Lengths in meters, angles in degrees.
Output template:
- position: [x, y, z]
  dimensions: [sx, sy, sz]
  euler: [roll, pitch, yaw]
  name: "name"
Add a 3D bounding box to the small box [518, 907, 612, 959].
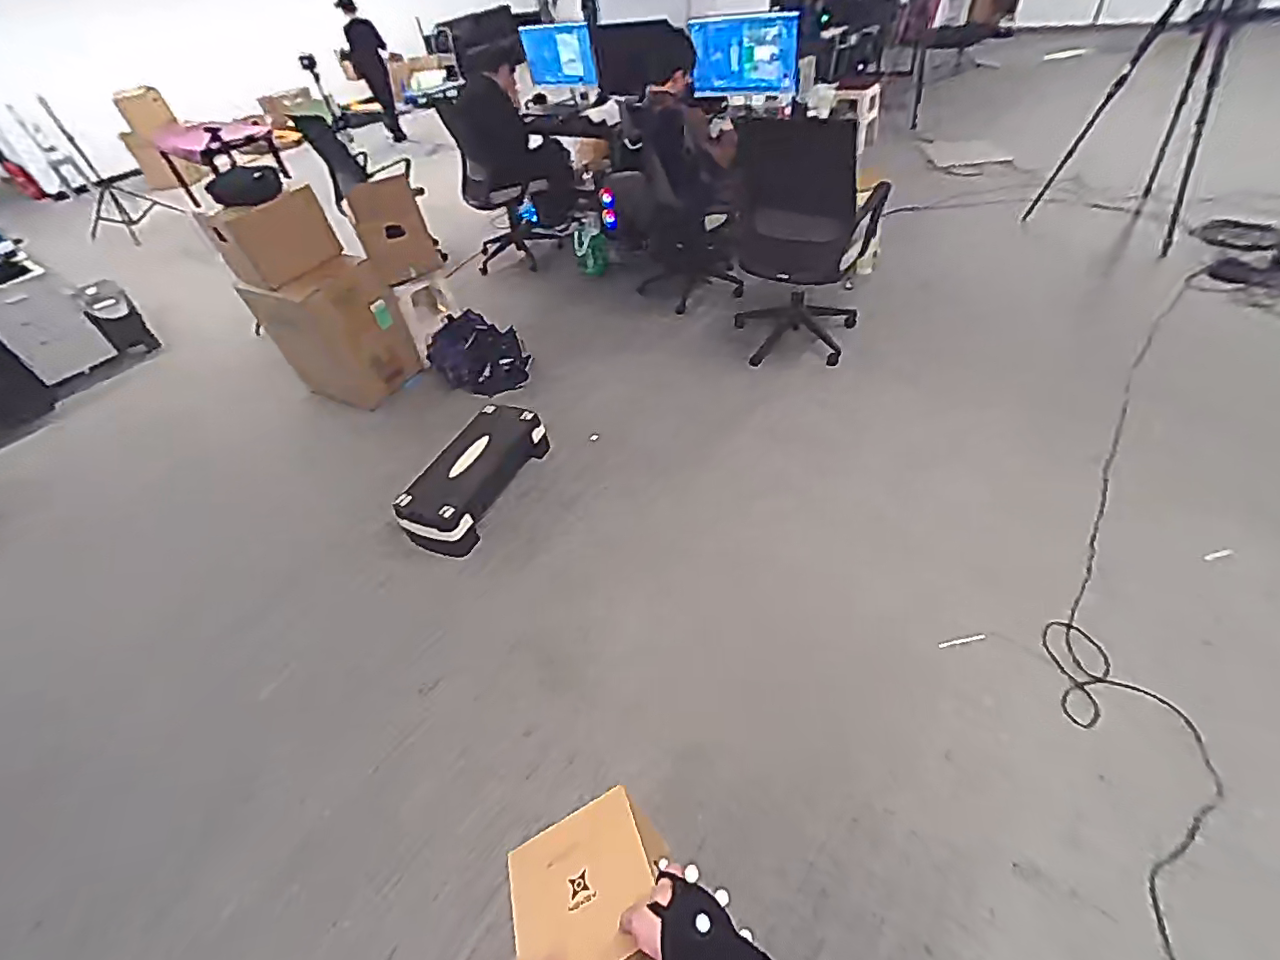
- position: [-0.148, 1.028, 1.101]
  dimensions: [0.179, 0.176, 0.168]
  euler: [26, 55, 31]
  name: "small box"
